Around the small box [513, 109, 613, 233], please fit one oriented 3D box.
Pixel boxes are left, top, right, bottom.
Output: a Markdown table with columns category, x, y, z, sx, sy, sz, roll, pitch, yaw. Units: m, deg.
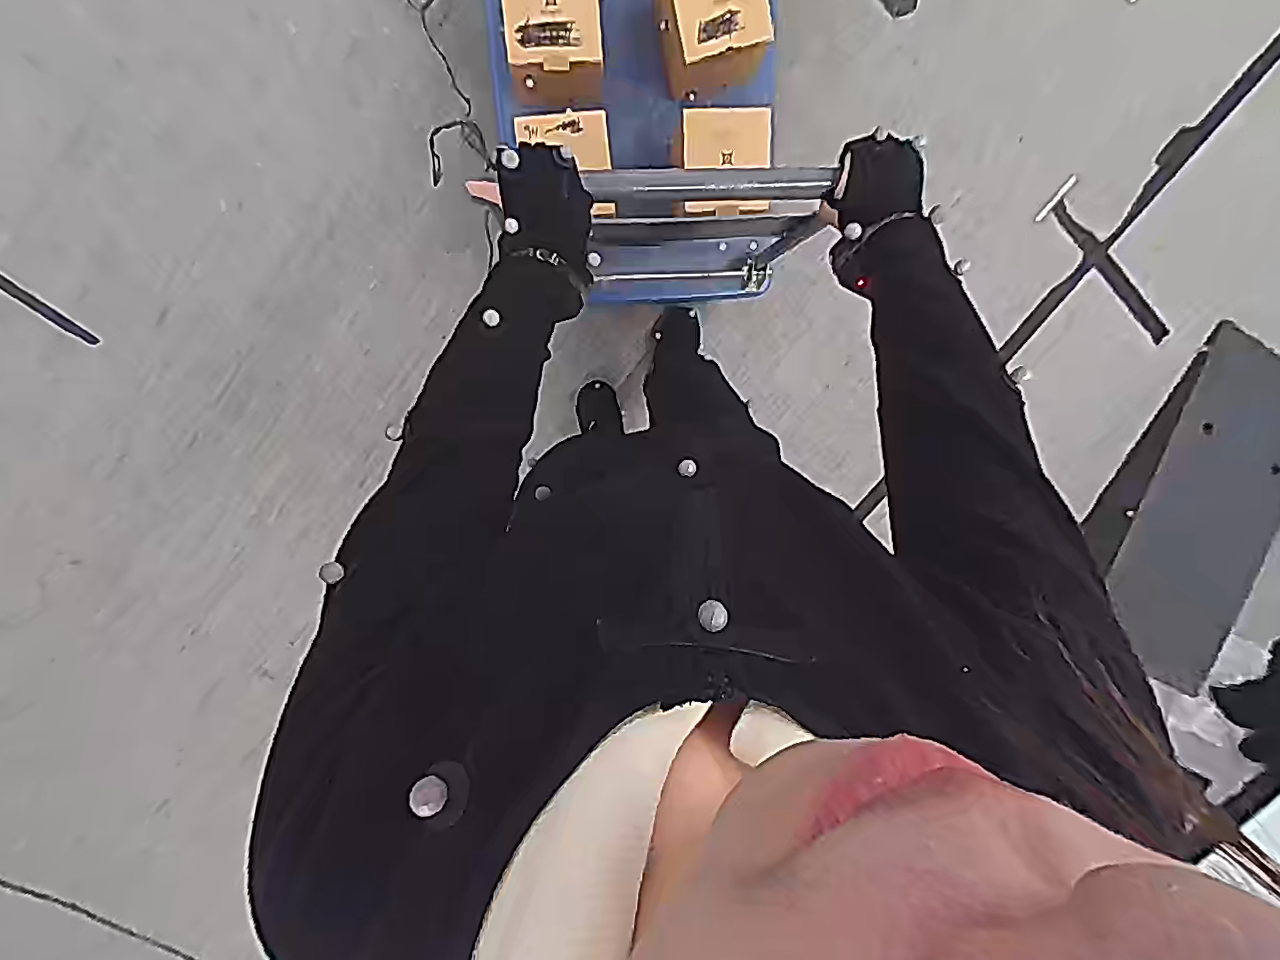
| category | x | y | z | sx | sy | sz | roll | pitch | yaw |
| --- | --- | --- | --- | --- | --- | --- | --- | --- | --- |
| small box | -0.145 | -0.592 | 1.060 | 0.168 | 0.176 | 0.179 | -7 | 105 | -5 |

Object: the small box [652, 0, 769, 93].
| category | x | y | z | sx | sy | sz | roll | pitch | yaw |
| --- | --- | --- | --- | --- | --- | --- | --- | --- | --- |
| small box | 0.126 | -0.865 | 1.016 | 0.168 | 0.176 | 0.179 | -15 | 105 | -1 |

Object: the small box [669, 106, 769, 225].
| category | x | y | z | sx | sy | sz | roll | pitch | yaw |
| --- | --- | --- | --- | --- | --- | --- | --- | --- | --- |
| small box | 0.151 | -0.617 | 1.083 | 0.168 | 0.176 | 0.179 | -3 | 104 | -5 |
